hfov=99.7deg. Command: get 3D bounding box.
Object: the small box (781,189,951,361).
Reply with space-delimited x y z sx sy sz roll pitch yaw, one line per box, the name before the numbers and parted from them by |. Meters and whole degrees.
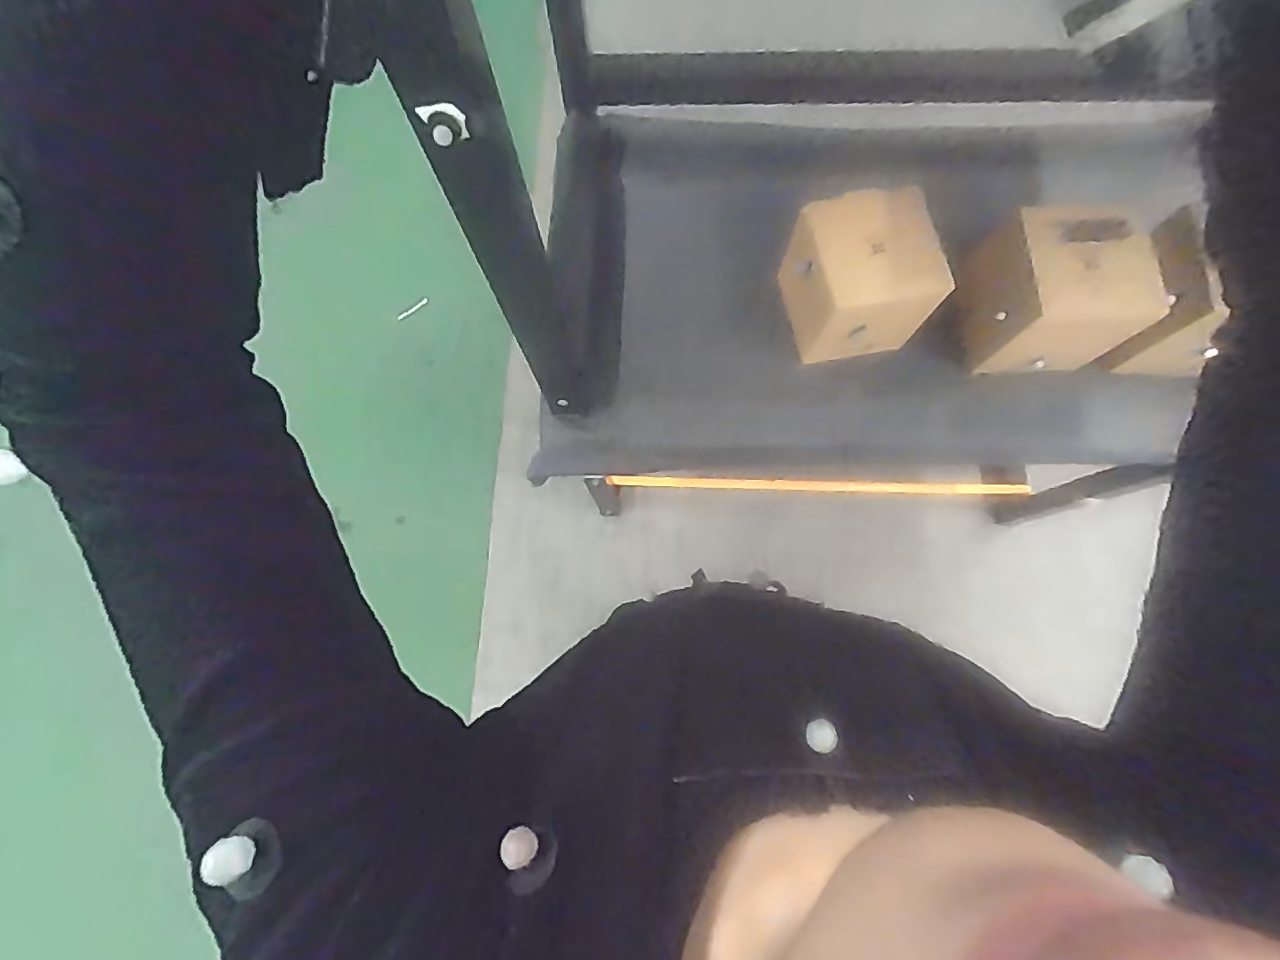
small box | 0.327 -0.296 0.820 0.168 0.176 0.179 -10 74 -1
